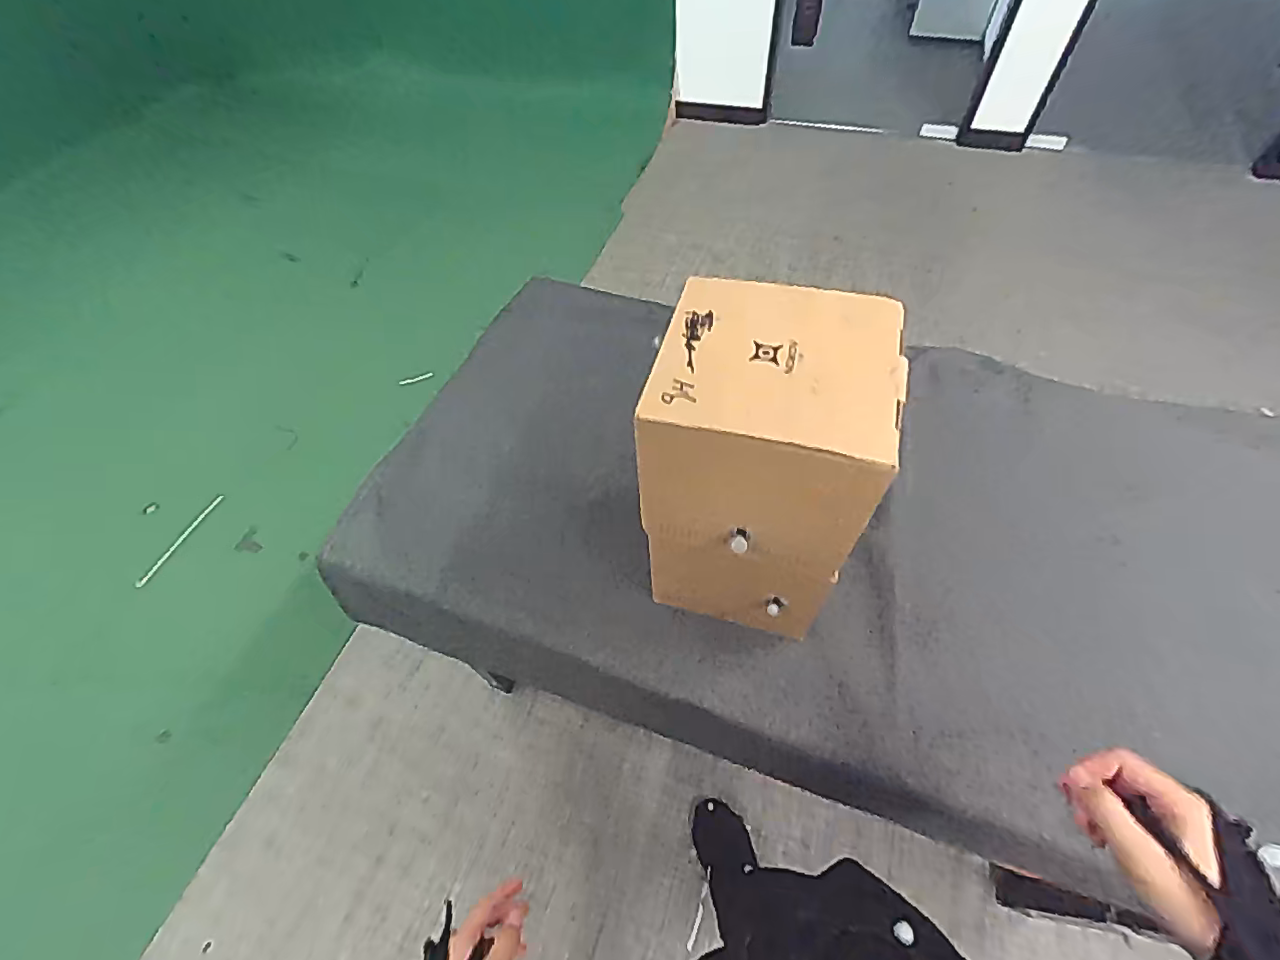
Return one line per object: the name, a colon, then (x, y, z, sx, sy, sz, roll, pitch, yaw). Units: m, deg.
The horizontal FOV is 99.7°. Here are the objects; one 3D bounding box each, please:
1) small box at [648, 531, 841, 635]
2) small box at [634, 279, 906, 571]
small box: (0.116, 0.054, 0.596, 0.179, 0.176, 0.168, 12, 56, 12)
small box: (0.104, -0.040, 0.462, 0.179, 0.176, 0.168, 13, 57, 12)
